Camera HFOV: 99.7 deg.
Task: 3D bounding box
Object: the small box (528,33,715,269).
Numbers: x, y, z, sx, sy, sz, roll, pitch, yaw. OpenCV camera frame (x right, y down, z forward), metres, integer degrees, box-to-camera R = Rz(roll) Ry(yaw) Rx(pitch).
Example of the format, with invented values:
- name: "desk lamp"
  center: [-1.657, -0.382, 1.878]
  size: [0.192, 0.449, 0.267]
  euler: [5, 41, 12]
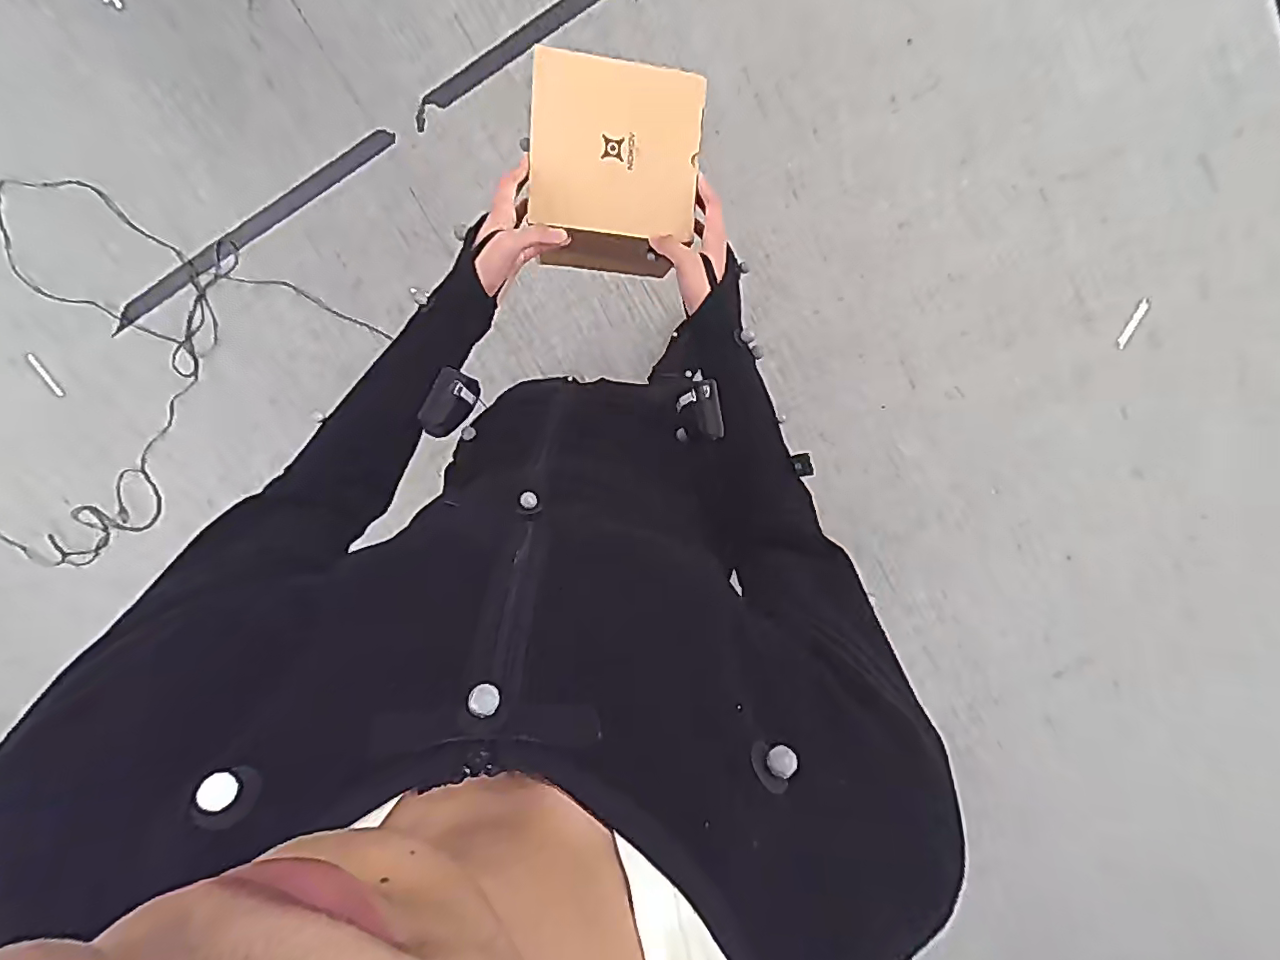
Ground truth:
- name: "small box"
  center: [-0.030, -0.346, 0.607]
  size: [0.179, 0.176, 0.168]
  euler: [3, 98, -10]
